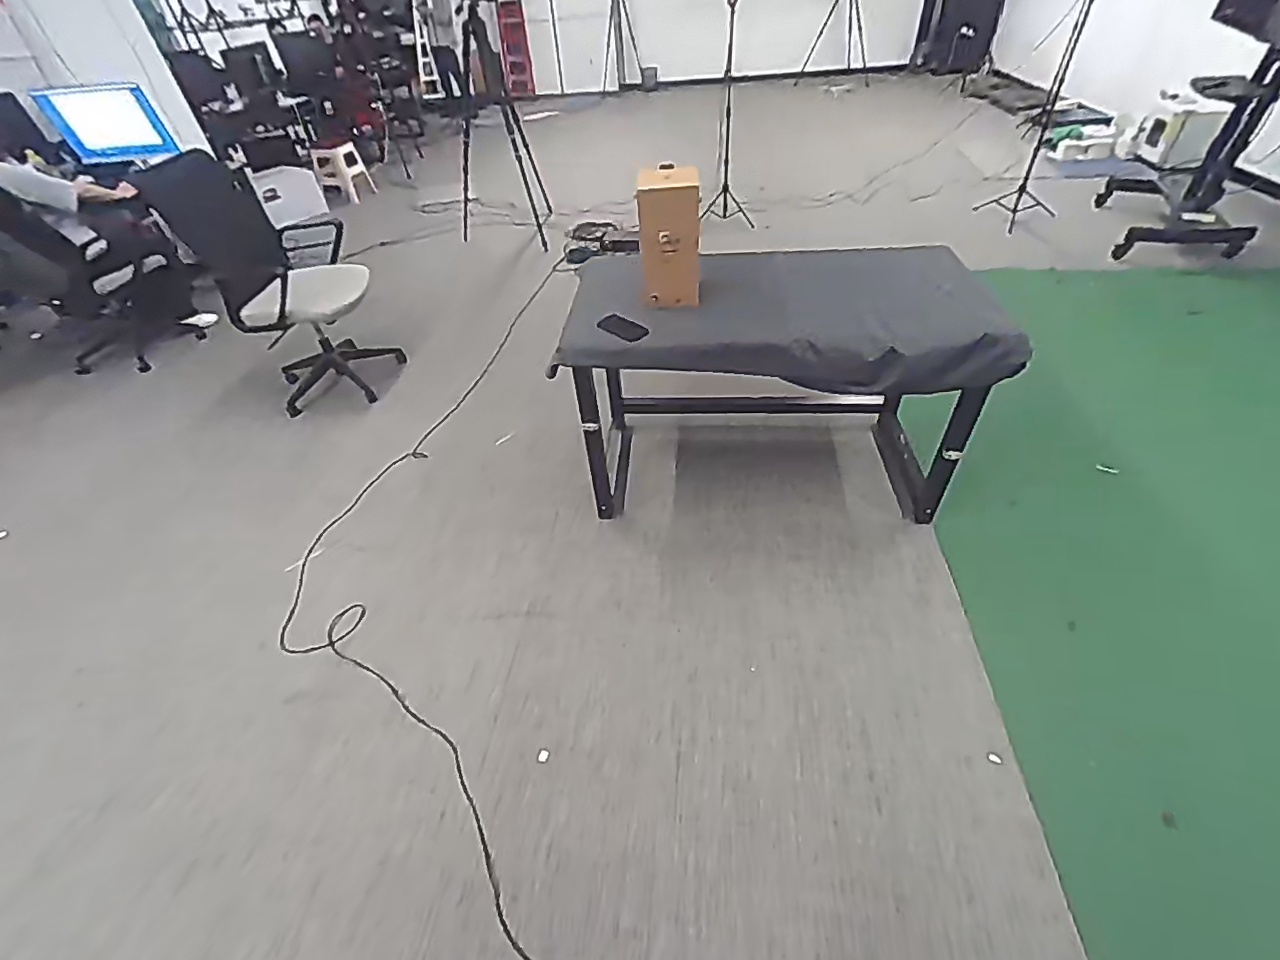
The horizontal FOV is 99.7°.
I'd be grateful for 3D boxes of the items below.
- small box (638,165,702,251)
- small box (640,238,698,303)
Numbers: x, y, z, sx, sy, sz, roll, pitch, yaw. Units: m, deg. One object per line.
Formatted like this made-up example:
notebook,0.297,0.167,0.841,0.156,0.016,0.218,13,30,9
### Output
small box,0.083,-0.758,1.509,0.168,0.176,0.179,-2,45,4
small box,0.090,-0.641,1.621,0.168,0.176,0.179,-1,43,3
